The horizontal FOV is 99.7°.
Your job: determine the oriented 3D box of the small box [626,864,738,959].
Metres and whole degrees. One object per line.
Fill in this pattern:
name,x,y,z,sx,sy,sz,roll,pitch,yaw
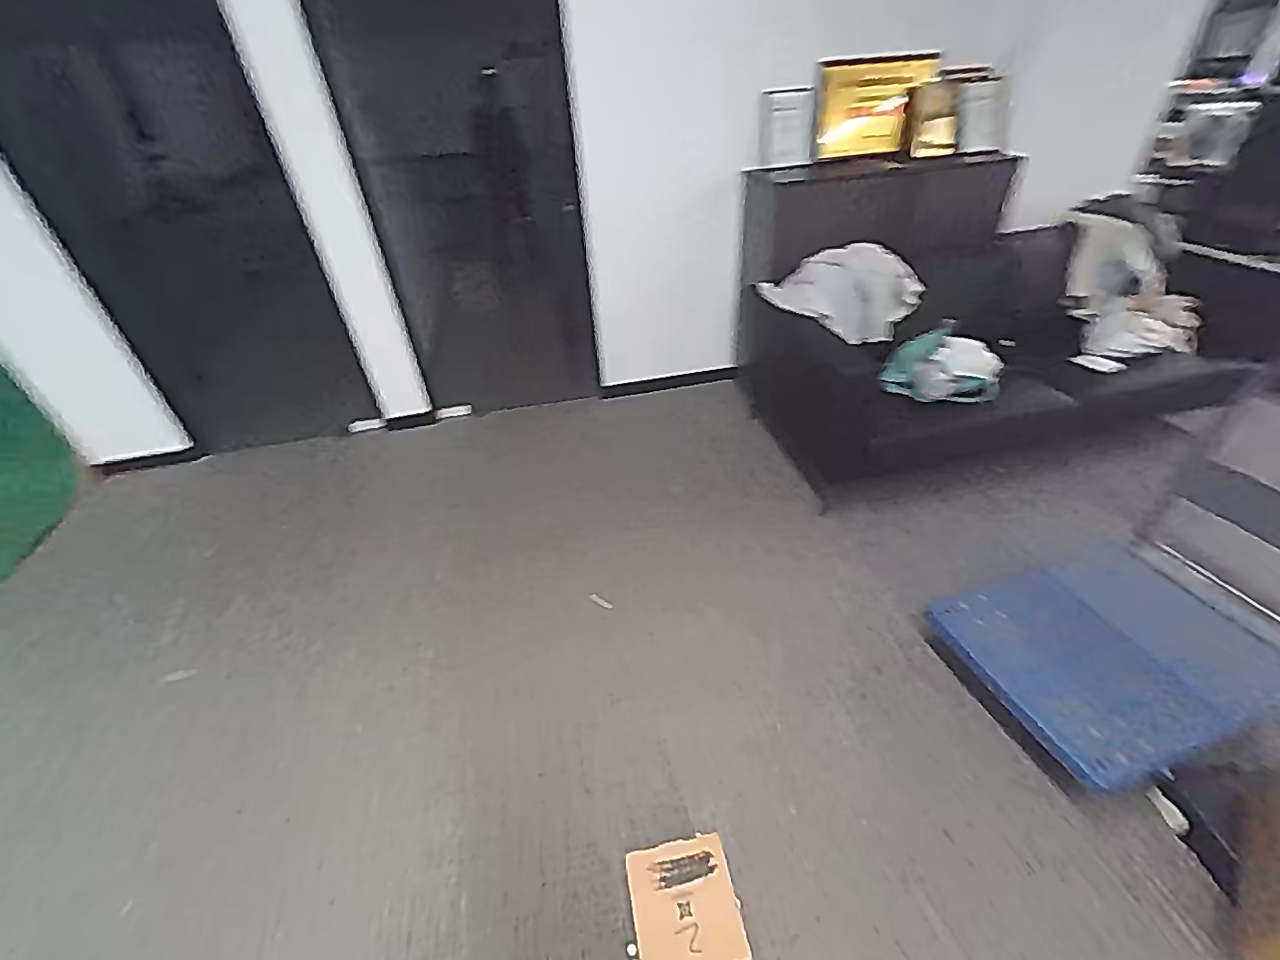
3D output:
small box,0.075,0.851,1.001,0.179,0.176,0.168,-8,39,-7
